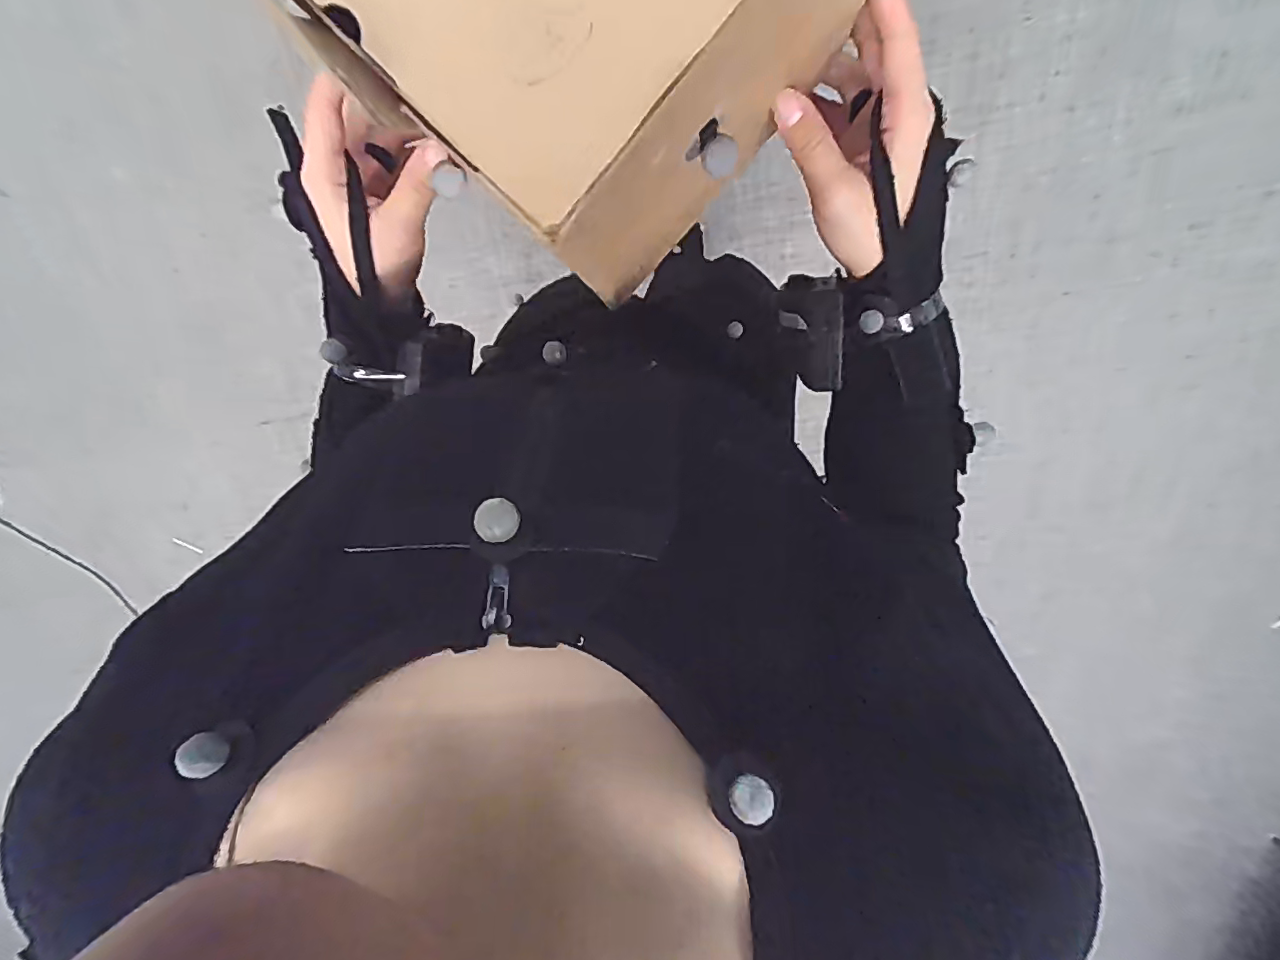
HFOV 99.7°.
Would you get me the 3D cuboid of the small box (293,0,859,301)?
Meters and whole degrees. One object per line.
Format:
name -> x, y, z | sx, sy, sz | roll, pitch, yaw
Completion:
small box -> -0.016, -0.202, 0.233 | 0.168, 0.176, 0.179 | 43, 101, -4
